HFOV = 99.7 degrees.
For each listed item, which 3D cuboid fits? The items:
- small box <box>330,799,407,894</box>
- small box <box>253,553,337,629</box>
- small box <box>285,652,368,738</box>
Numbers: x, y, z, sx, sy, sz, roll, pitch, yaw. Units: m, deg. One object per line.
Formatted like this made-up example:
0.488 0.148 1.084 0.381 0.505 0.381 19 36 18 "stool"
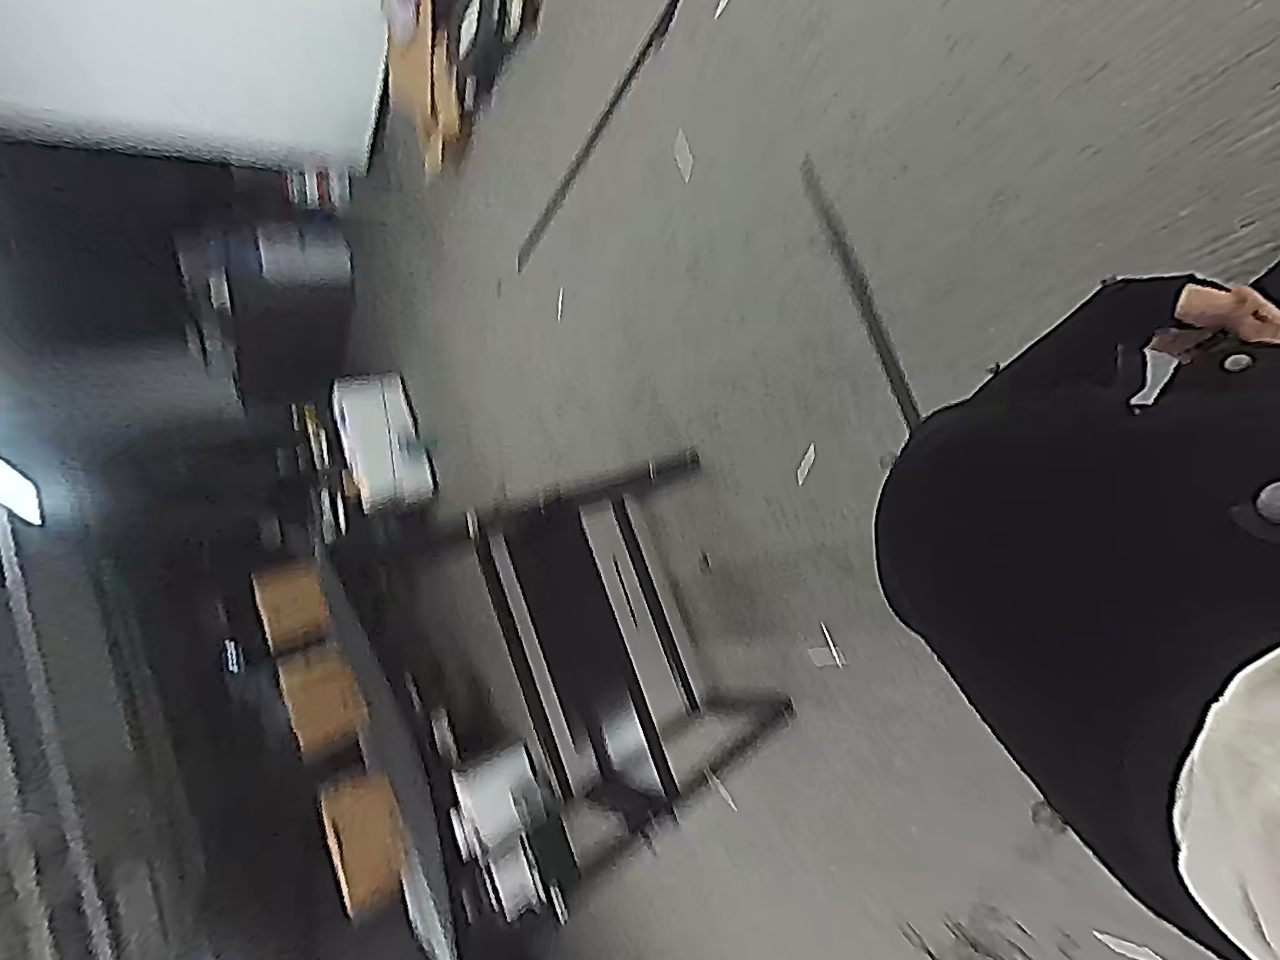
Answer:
-0.838 1.119 1.671 0.179 0.176 0.168 -28 81 51 "small box"
-0.988 0.319 1.554 0.179 0.176 0.168 -24 85 54 "small box"
-0.885 0.600 1.530 0.179 0.176 0.168 -26 83 53 "small box"
